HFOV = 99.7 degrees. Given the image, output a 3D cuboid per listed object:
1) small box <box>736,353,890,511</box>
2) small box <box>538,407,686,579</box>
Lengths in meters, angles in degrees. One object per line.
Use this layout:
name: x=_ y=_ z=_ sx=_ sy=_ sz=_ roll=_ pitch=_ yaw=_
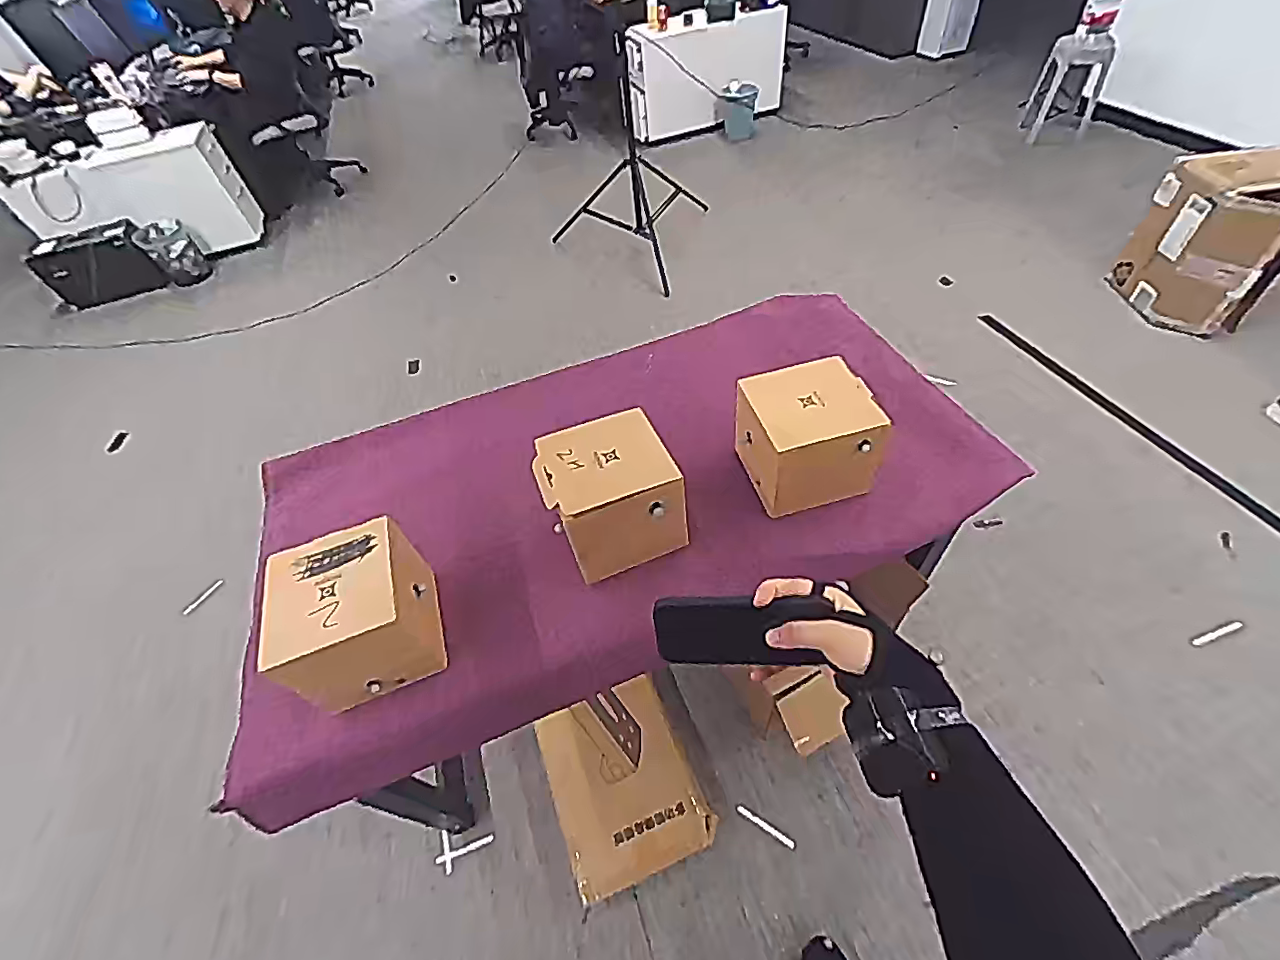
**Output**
small box: x=0.264 y=-0.073 z=0.871 sx=0.179 sy=0.176 sz=0.168 roll=-15 pitch=51 yaw=-5
small box: x=-0.038 y=0.021 z=0.835 sx=0.179 sy=0.176 sz=0.168 roll=-21 pitch=49 yaw=-9
